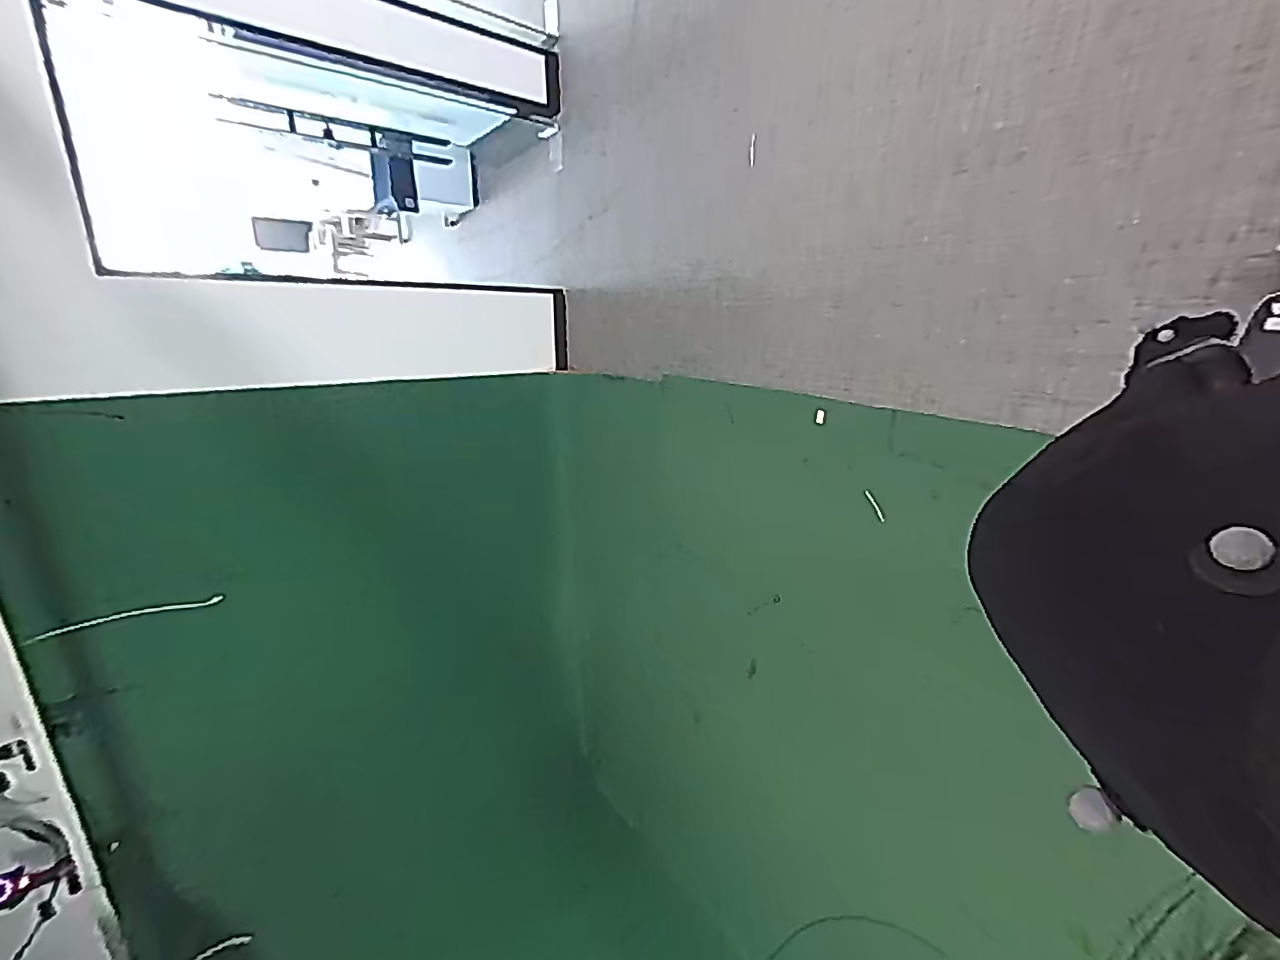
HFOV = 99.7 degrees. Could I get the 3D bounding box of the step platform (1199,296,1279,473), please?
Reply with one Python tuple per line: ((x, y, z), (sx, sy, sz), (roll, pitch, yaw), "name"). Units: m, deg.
((1.250, -0.103, 0.717), (0.684, 0.204, 0.286), (20, 115, 48), "step platform")
